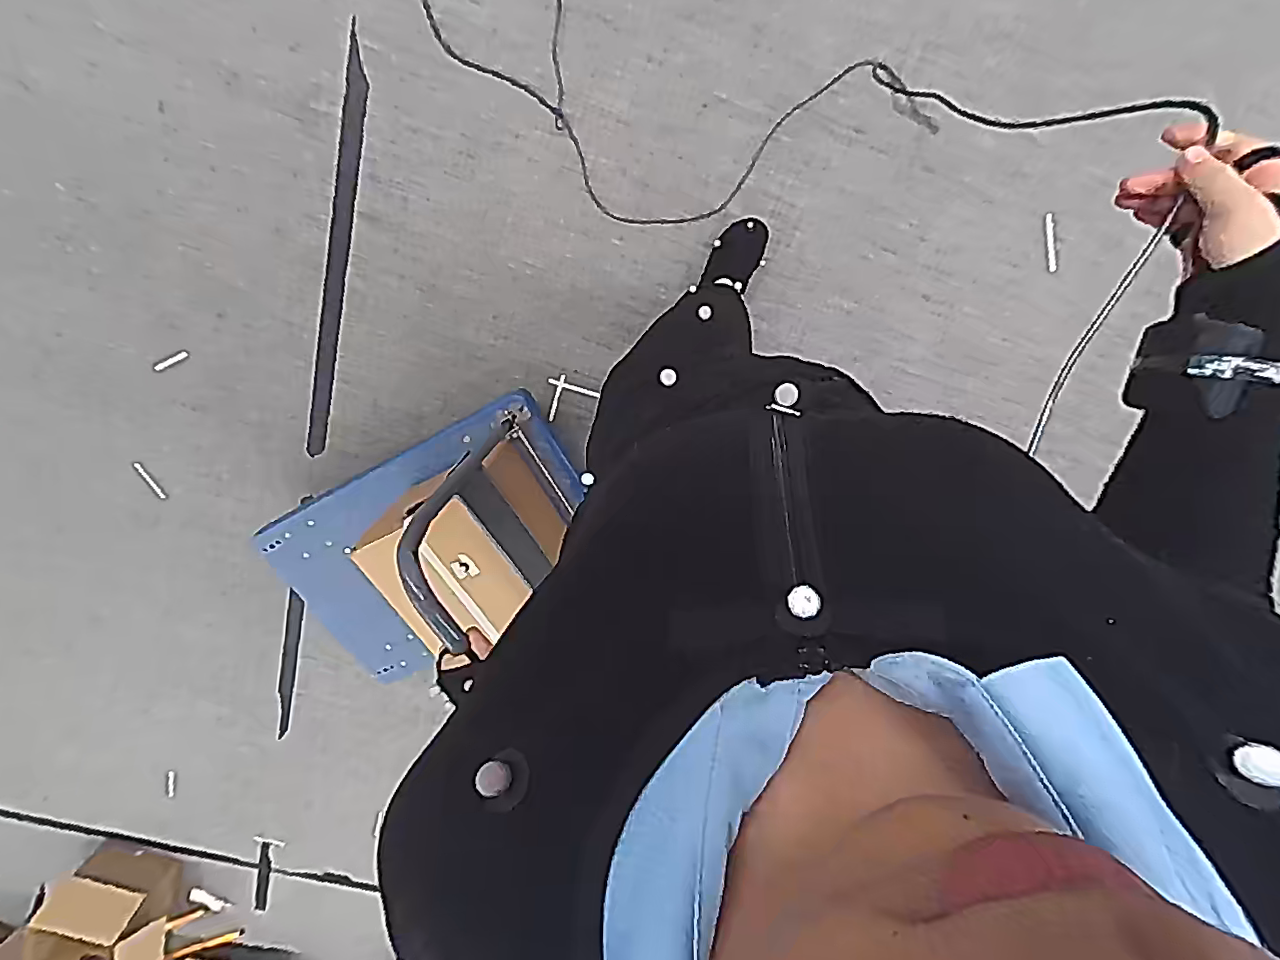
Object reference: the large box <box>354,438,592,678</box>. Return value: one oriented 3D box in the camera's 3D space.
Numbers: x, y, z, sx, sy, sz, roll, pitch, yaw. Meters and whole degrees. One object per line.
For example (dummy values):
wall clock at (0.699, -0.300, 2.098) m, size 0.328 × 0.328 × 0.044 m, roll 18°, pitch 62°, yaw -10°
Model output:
large box at (-0.356, 0.176, 1.278) m, size 0.320 × 0.320 × 0.408 m, roll -26°, pitch 110°, yaw 11°
